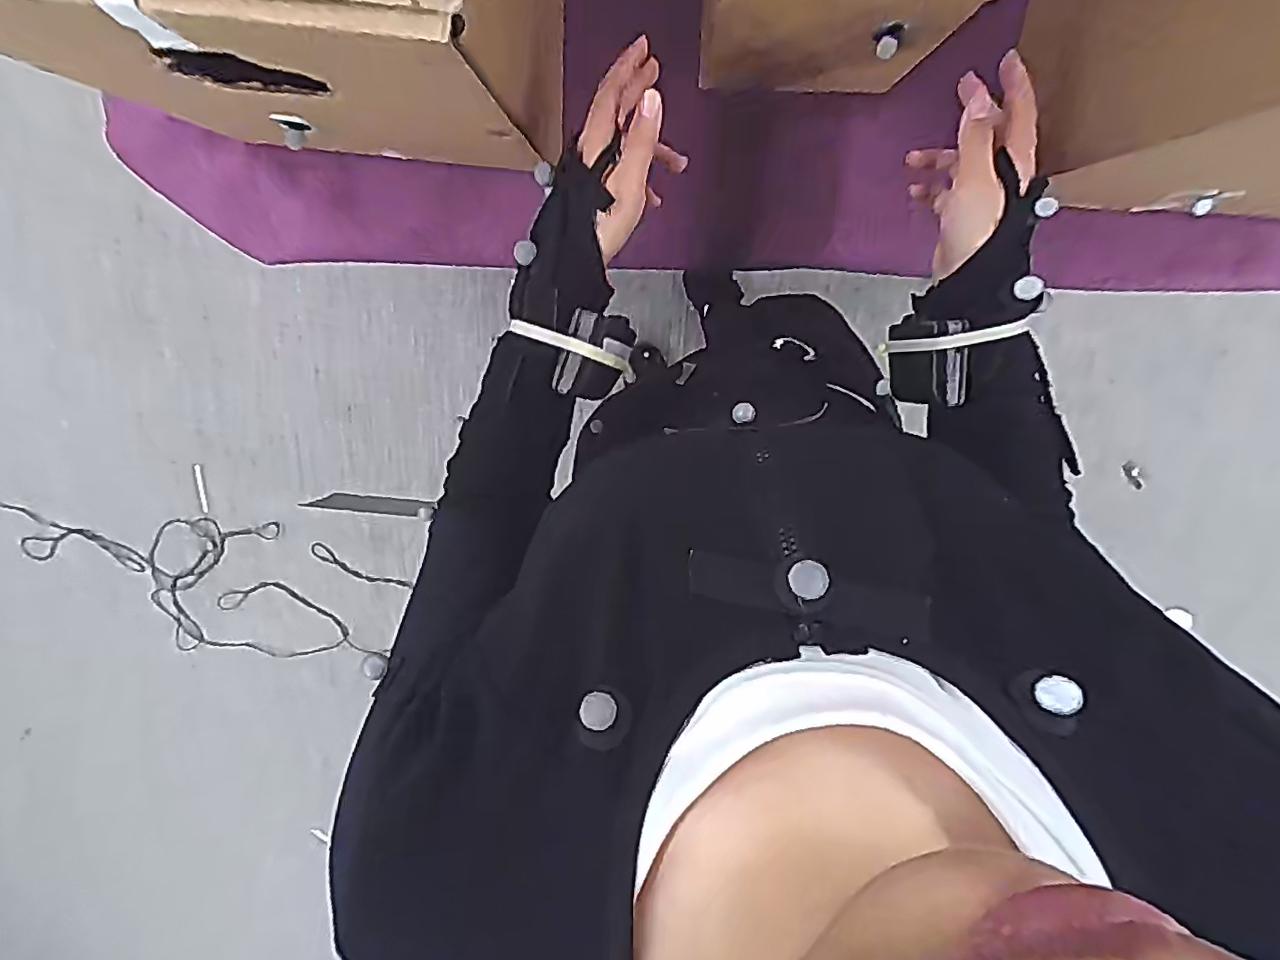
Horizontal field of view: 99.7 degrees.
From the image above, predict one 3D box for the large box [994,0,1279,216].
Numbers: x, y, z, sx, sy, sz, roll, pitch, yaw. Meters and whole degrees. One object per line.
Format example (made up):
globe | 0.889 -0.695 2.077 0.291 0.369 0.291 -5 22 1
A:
large box | 0.483 -0.396 0.310 0.320 0.320 0.408 4 108 0
